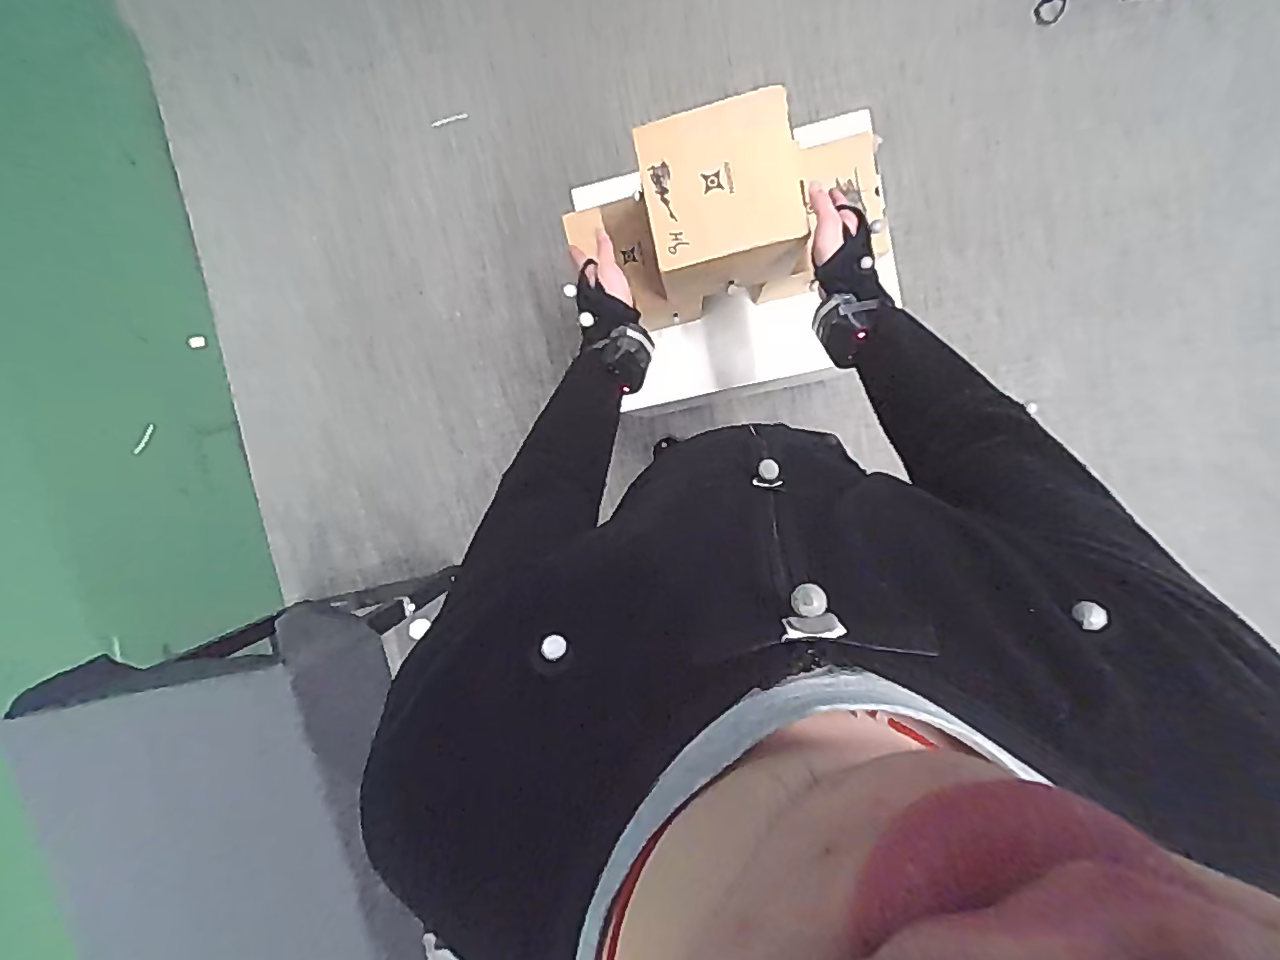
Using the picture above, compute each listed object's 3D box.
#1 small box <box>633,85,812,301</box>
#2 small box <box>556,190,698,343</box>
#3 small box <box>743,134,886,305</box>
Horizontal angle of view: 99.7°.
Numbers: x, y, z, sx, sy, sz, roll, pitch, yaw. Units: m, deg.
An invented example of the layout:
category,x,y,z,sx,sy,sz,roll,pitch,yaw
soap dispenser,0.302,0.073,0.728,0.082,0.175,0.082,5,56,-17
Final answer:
category,x,y,z,sx,sy,sz,roll,pitch,yaw
small box,0.096,-0.338,0.674,0.179,0.176,0.168,-11,94,5
small box,-0.014,-0.326,0.848,0.179,0.176,0.168,-13,93,6
small box,0.245,-0.381,0.822,0.179,0.176,0.168,-11,94,6
